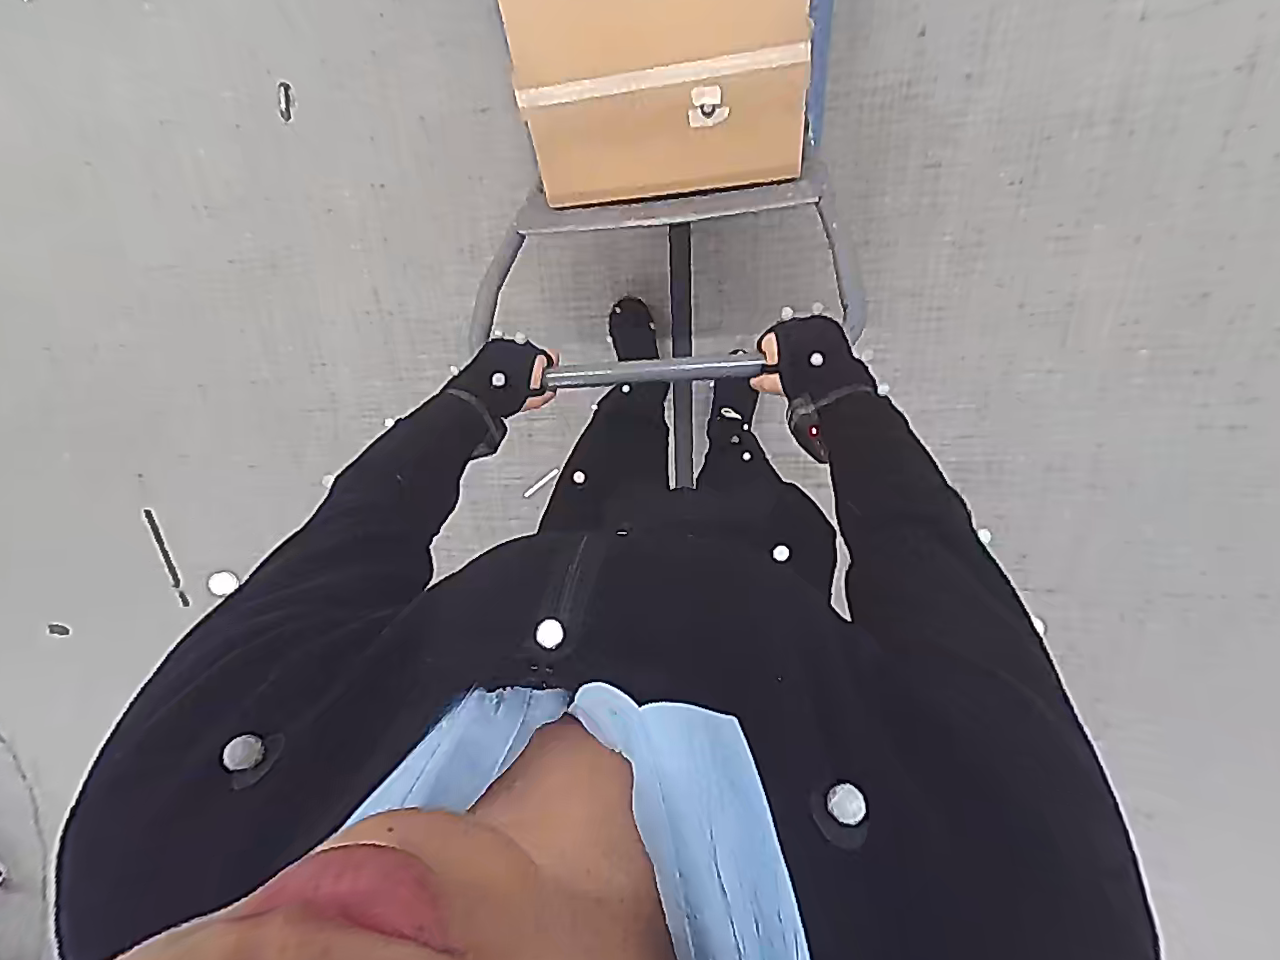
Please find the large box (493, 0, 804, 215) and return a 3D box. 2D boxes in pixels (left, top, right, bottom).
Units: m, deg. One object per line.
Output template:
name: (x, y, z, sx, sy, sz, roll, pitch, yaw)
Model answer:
large box: (0.030, -0.660, 0.859, 0.408, 0.320, 0.320, -3, 135, 9)
